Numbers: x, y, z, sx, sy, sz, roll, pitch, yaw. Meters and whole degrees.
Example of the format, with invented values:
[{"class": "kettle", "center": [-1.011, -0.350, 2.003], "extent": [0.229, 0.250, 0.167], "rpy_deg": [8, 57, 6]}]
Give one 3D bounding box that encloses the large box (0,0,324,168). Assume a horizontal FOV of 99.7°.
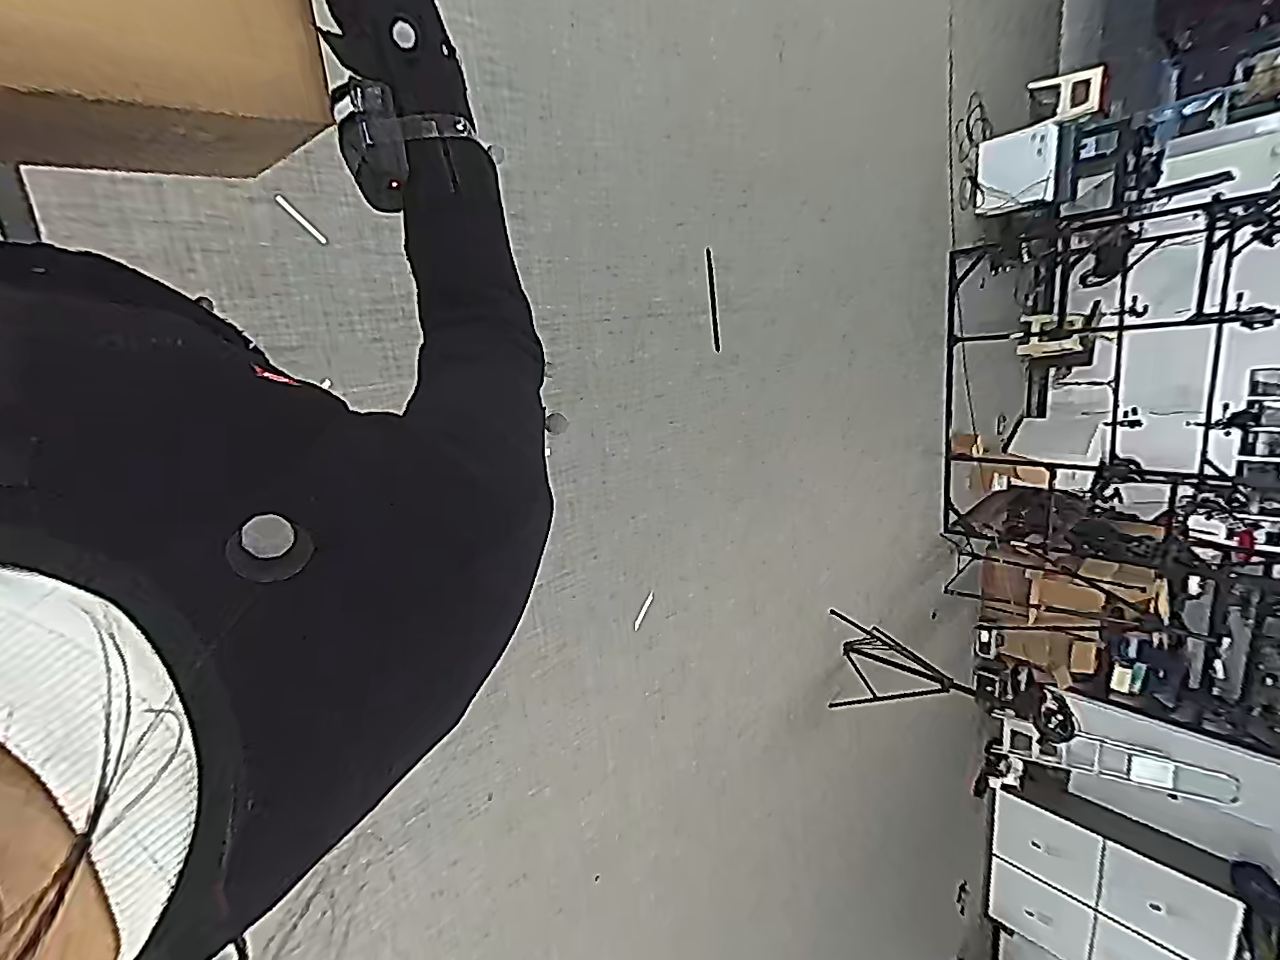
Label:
[{"class": "large box", "center": [-0.463, -0.366, 0.285], "extent": [0.408, 0.320, 0.320], "rpy_deg": [-21, 121, -38]}]
